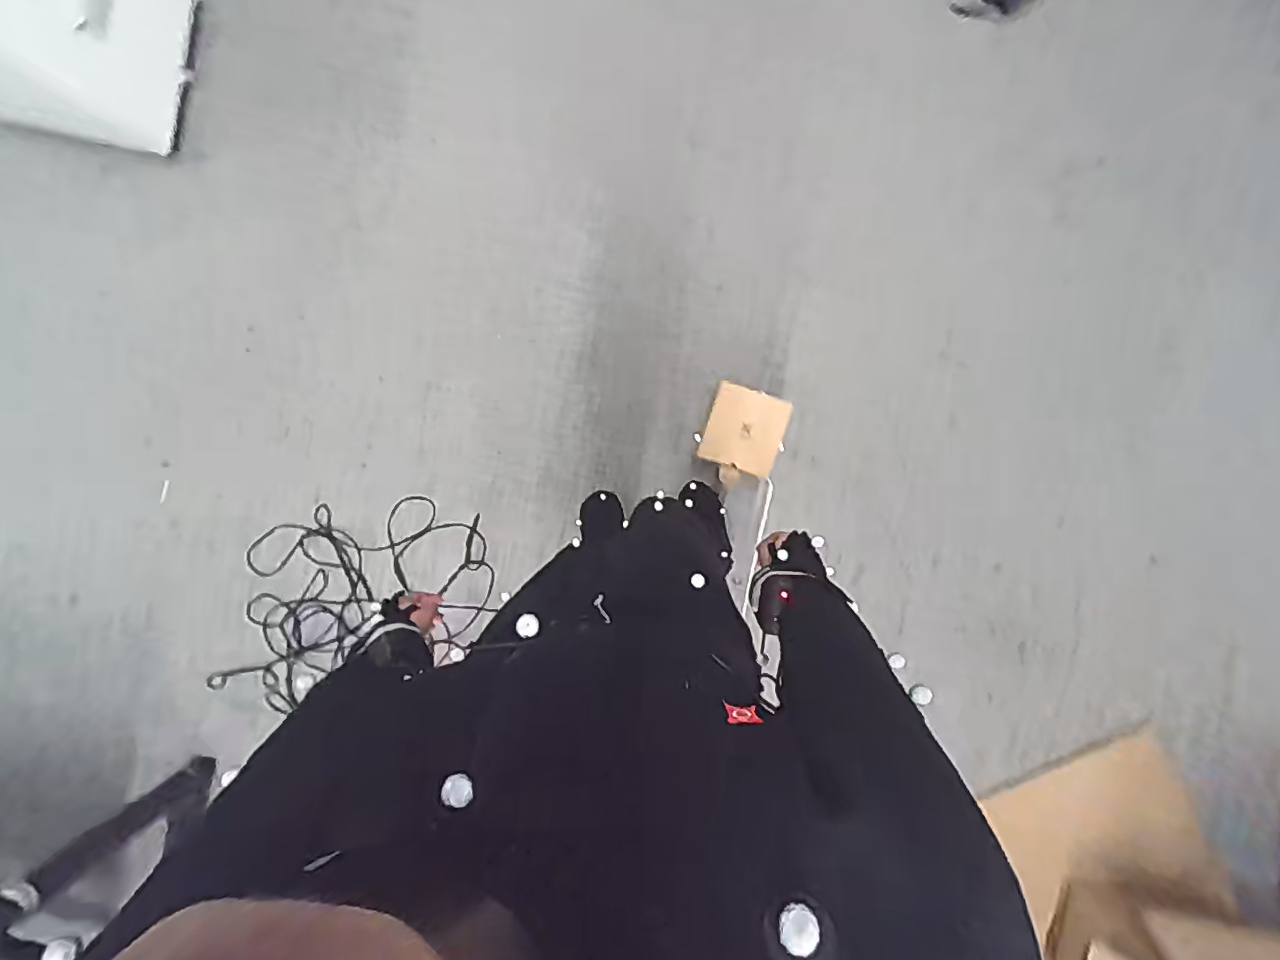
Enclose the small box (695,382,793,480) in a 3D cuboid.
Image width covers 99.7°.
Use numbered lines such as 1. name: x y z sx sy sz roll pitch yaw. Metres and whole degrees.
1. small box: 0.231 -0.112 1.258 0.168 0.176 0.179 18 95 0
